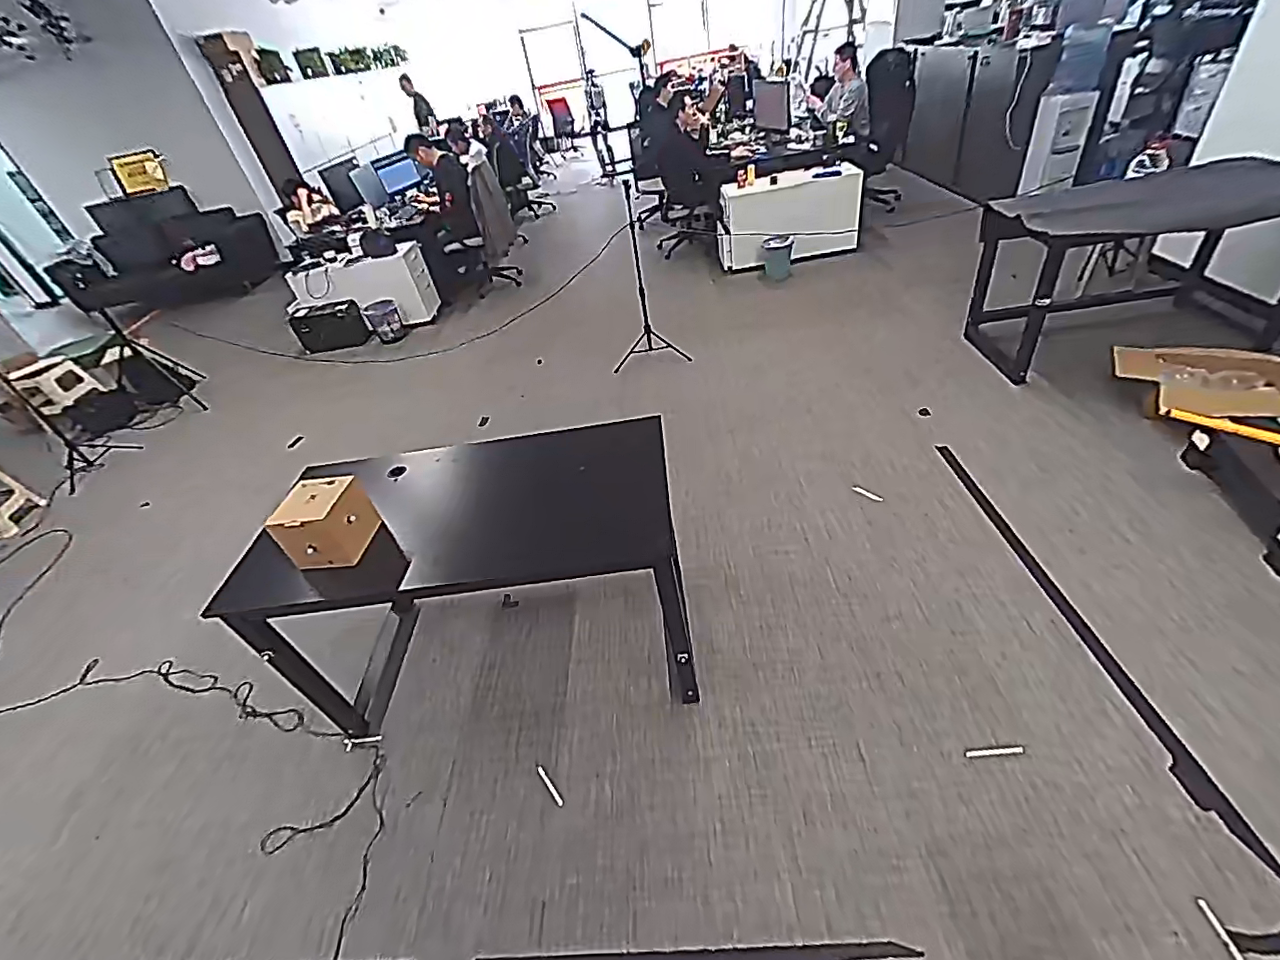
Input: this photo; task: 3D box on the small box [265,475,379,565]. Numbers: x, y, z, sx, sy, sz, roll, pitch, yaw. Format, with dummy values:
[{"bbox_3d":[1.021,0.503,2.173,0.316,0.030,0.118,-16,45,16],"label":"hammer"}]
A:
[{"bbox_3d":[-0.826,0.111,1.430,0.168,0.176,0.179,-5,40,8],"label":"small box"}]
